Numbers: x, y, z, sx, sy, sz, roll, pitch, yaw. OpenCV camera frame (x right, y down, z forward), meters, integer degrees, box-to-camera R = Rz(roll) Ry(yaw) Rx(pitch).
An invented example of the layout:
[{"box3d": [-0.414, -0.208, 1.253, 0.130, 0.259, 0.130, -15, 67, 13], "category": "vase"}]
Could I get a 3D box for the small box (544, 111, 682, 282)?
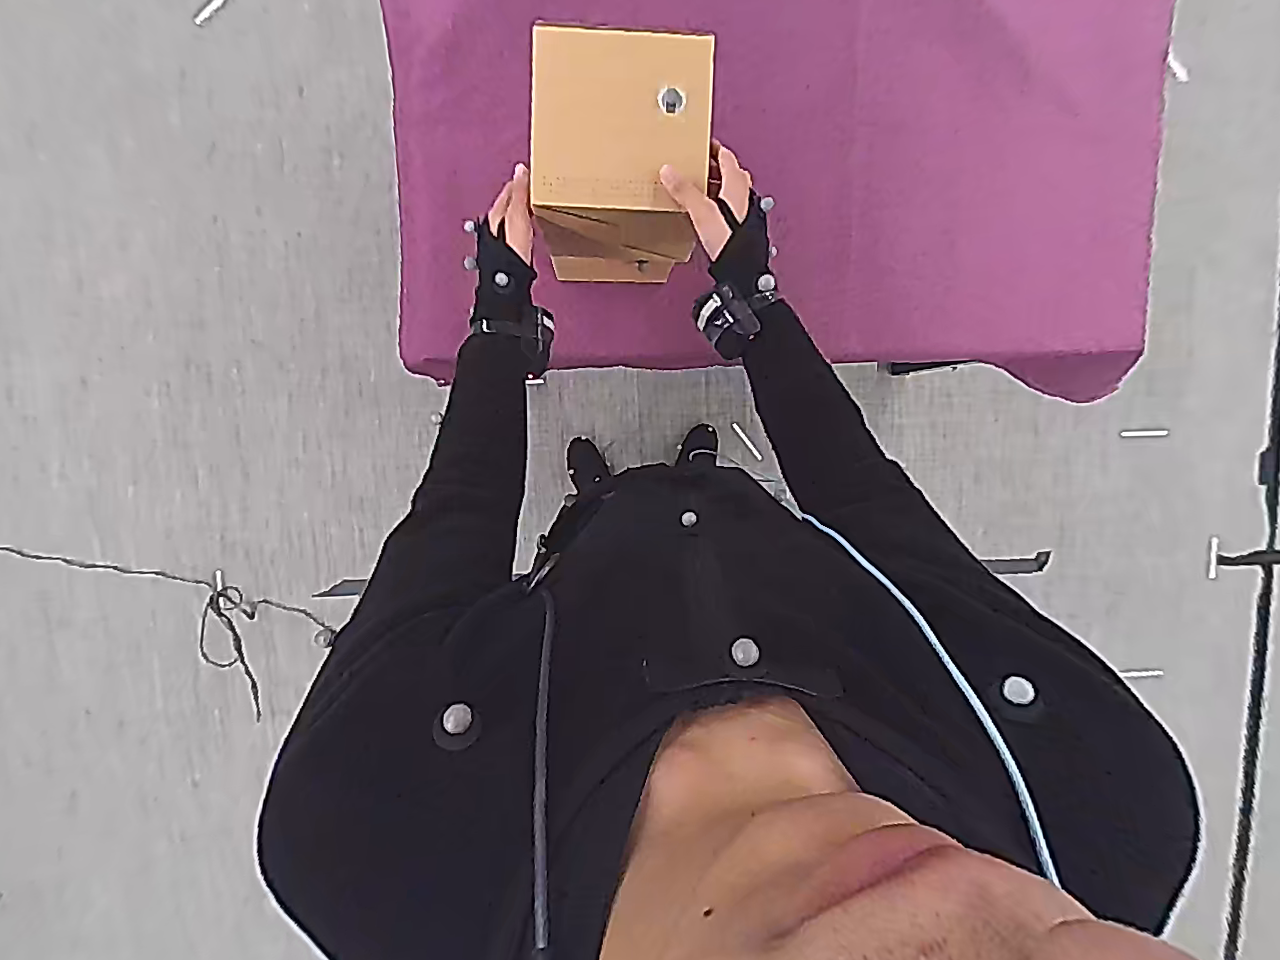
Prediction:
[{"box3d": [-0.041, -0.388, 0.769, 0.179, 0.176, 0.168, 0, 96, -4], "category": "small box"}]
